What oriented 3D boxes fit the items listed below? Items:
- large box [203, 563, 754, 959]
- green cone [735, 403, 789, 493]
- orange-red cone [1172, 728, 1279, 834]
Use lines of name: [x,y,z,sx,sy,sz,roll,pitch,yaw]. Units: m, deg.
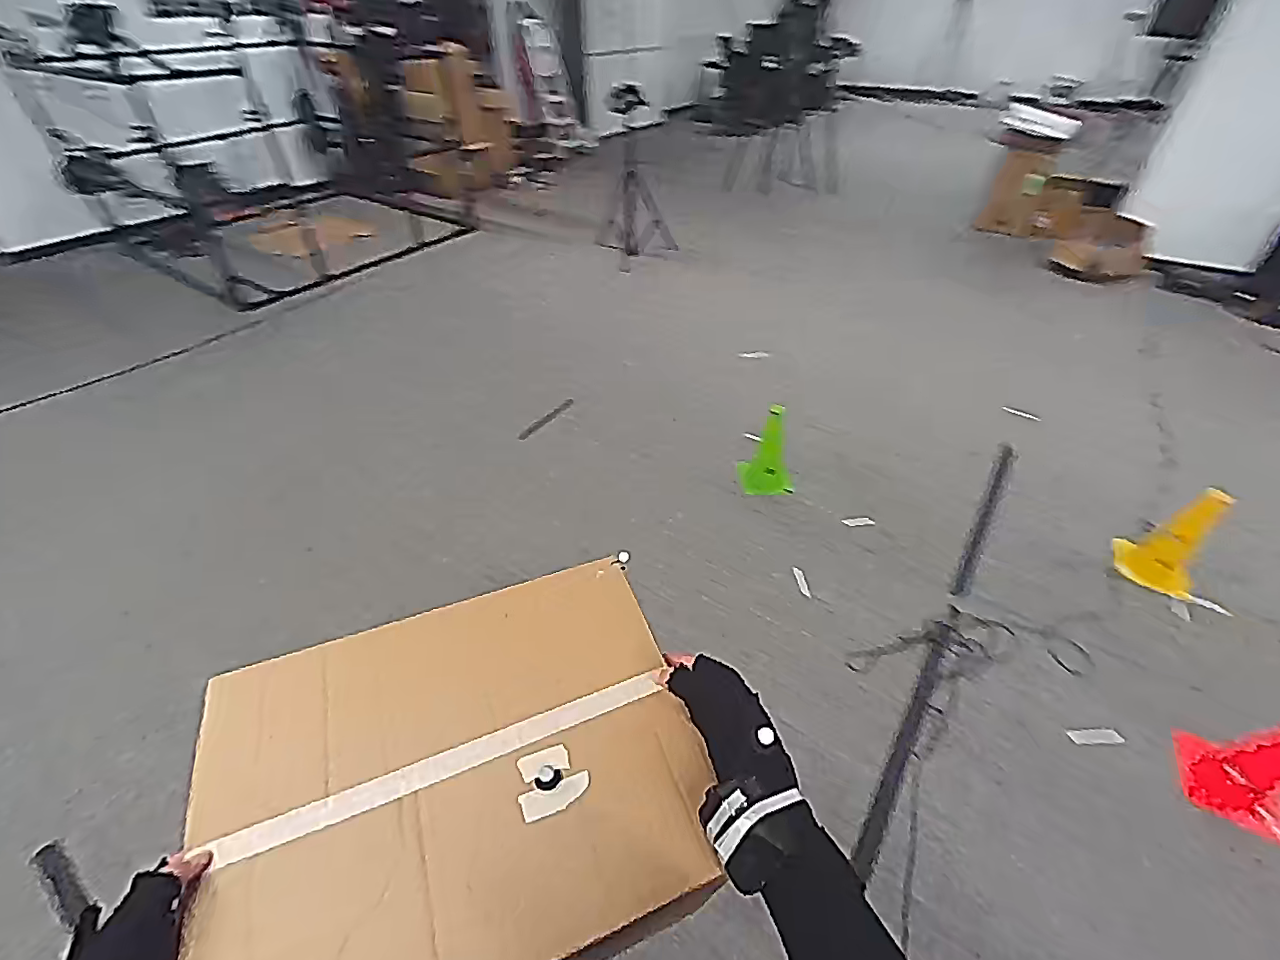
large box: [-0.151,0.348,0.578,0.408,0.320,0.320,-13,49,-17]
green cone: [0.503,-0.147,2.154,0.202,0.368,0.200,-3,41,0]
orange-red cone: [1.487,0.633,1.266,0.198,0.360,0.199,23,46,23]
